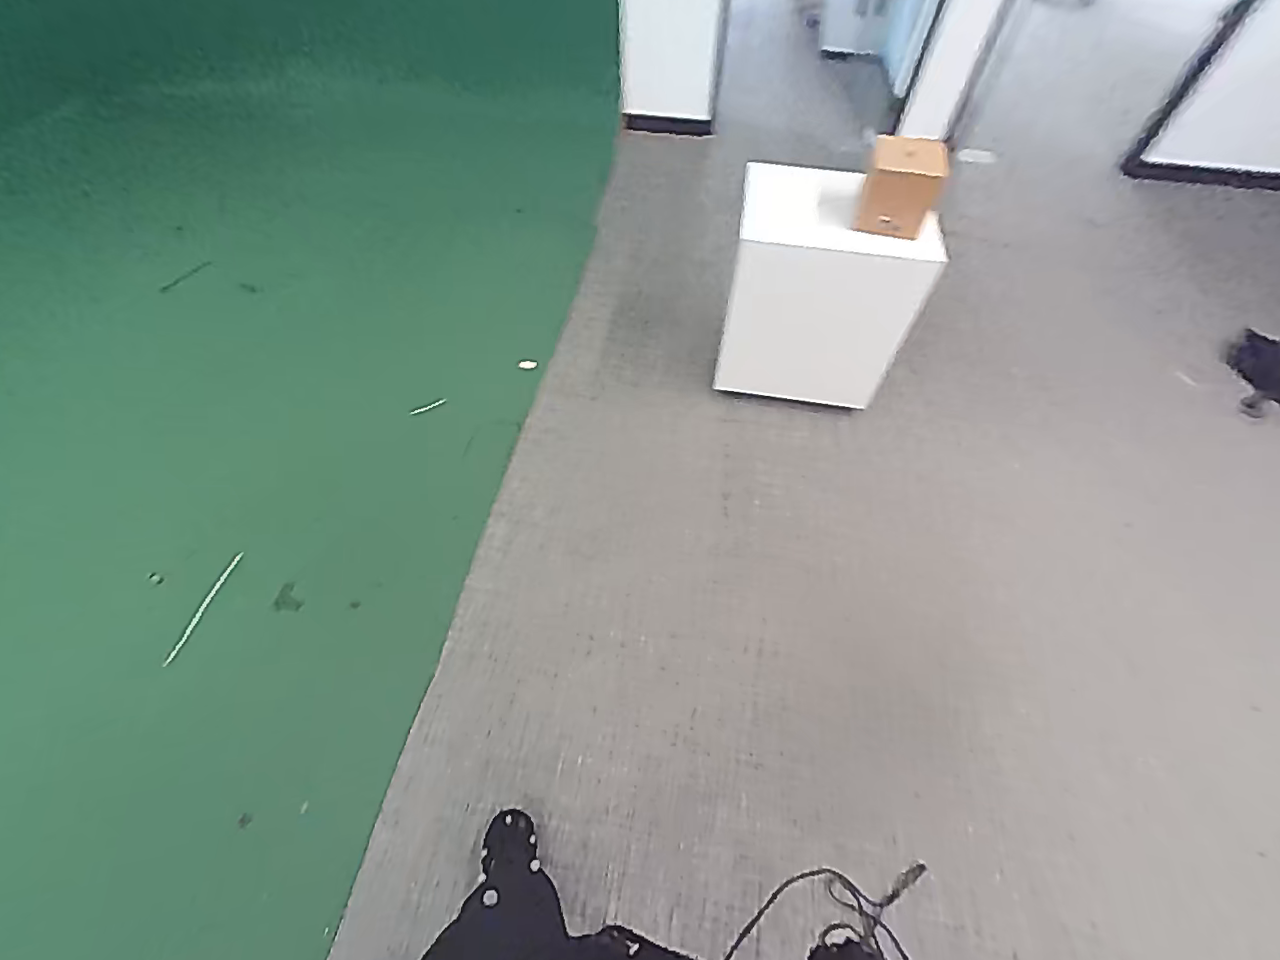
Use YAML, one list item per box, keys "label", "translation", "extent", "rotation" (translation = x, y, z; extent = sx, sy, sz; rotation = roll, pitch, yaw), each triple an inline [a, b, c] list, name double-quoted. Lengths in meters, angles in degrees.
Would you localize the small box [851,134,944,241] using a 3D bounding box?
- label: "small box"
  translation: [0.652, -0.747, 1.384]
  extent: [0.168, 0.176, 0.179]
  rotation: [12, 58, 8]
